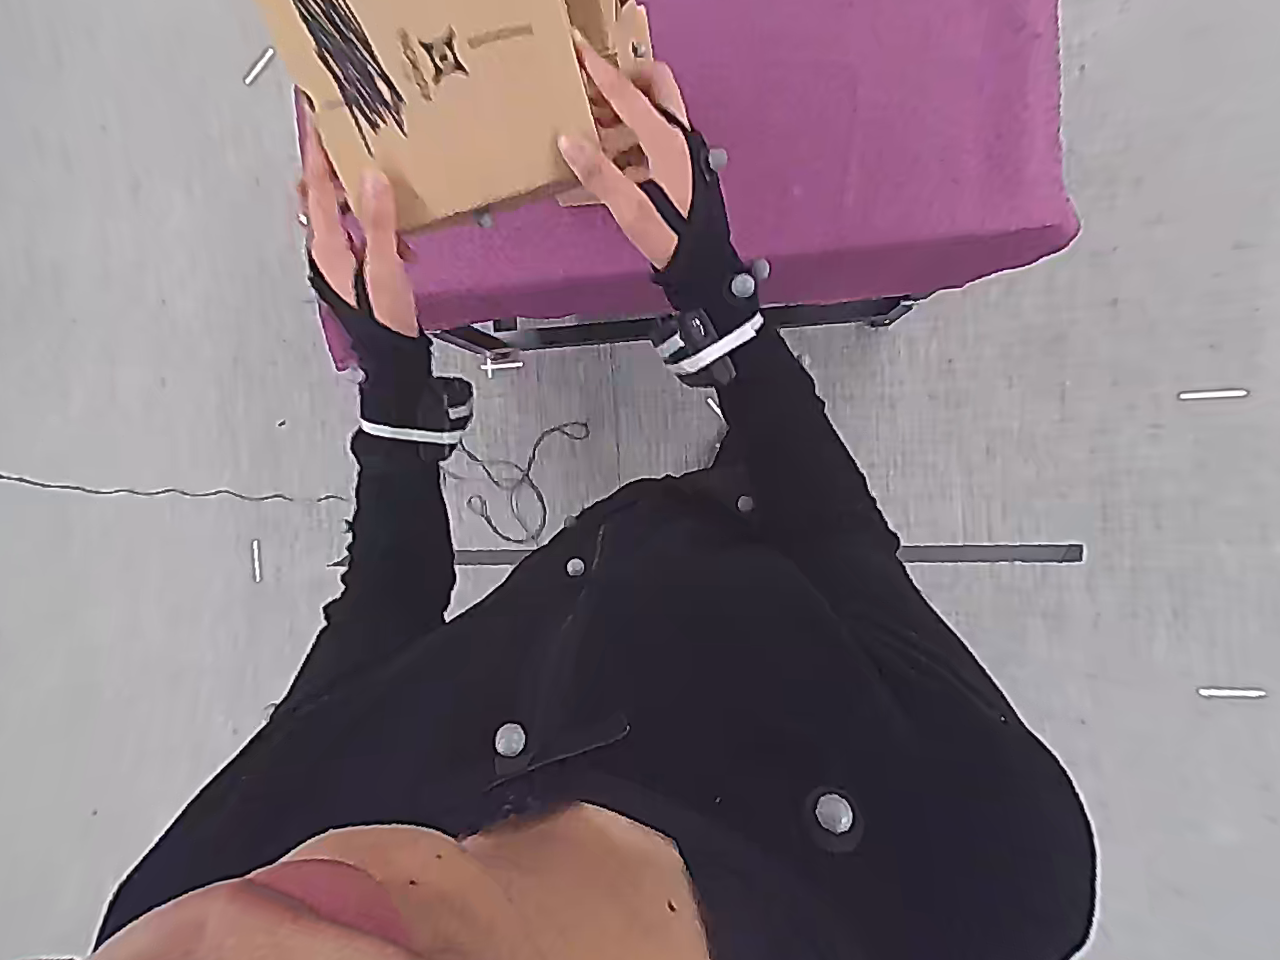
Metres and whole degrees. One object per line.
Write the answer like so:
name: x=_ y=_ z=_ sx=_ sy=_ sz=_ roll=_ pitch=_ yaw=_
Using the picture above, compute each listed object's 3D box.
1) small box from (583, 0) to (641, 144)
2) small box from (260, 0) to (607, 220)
small box: x=-0.098 y=-0.520 z=0.638 sx=0.179 sy=0.176 sz=0.168 roll=0 pitch=93 yaw=8
small box: x=-0.129 y=-0.300 z=0.395 sx=0.179 sy=0.176 sz=0.168 roll=-15 pitch=117 yaw=5
